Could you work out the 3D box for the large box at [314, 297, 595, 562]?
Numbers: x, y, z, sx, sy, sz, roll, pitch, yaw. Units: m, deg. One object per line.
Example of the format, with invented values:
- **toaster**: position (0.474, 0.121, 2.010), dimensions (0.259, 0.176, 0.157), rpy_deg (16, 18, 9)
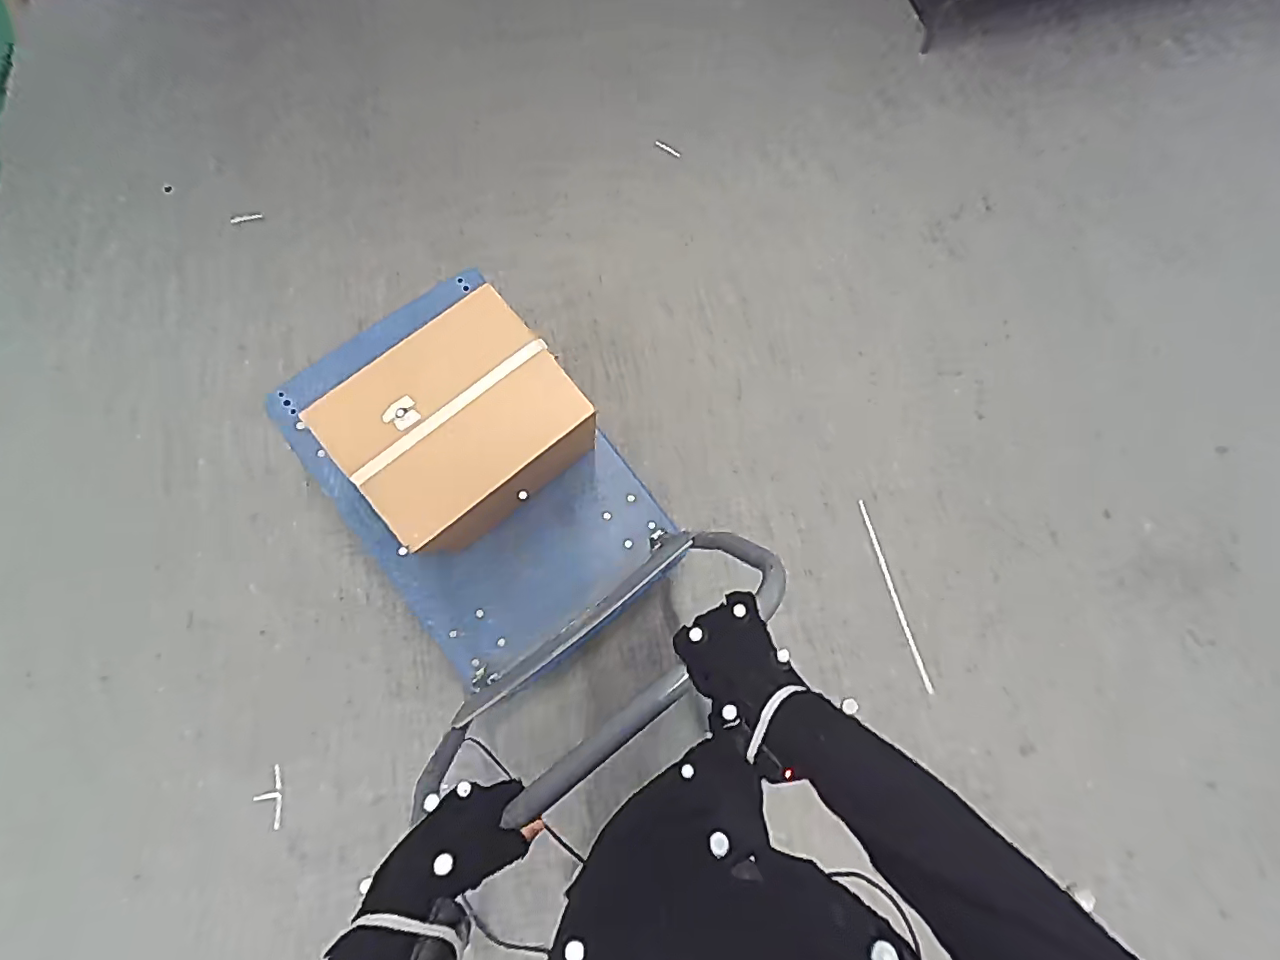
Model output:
- **large box**: position (-0.339, -0.082, 1.112), dimensions (0.408, 0.320, 0.320), rpy_deg (-41, 87, -8)
